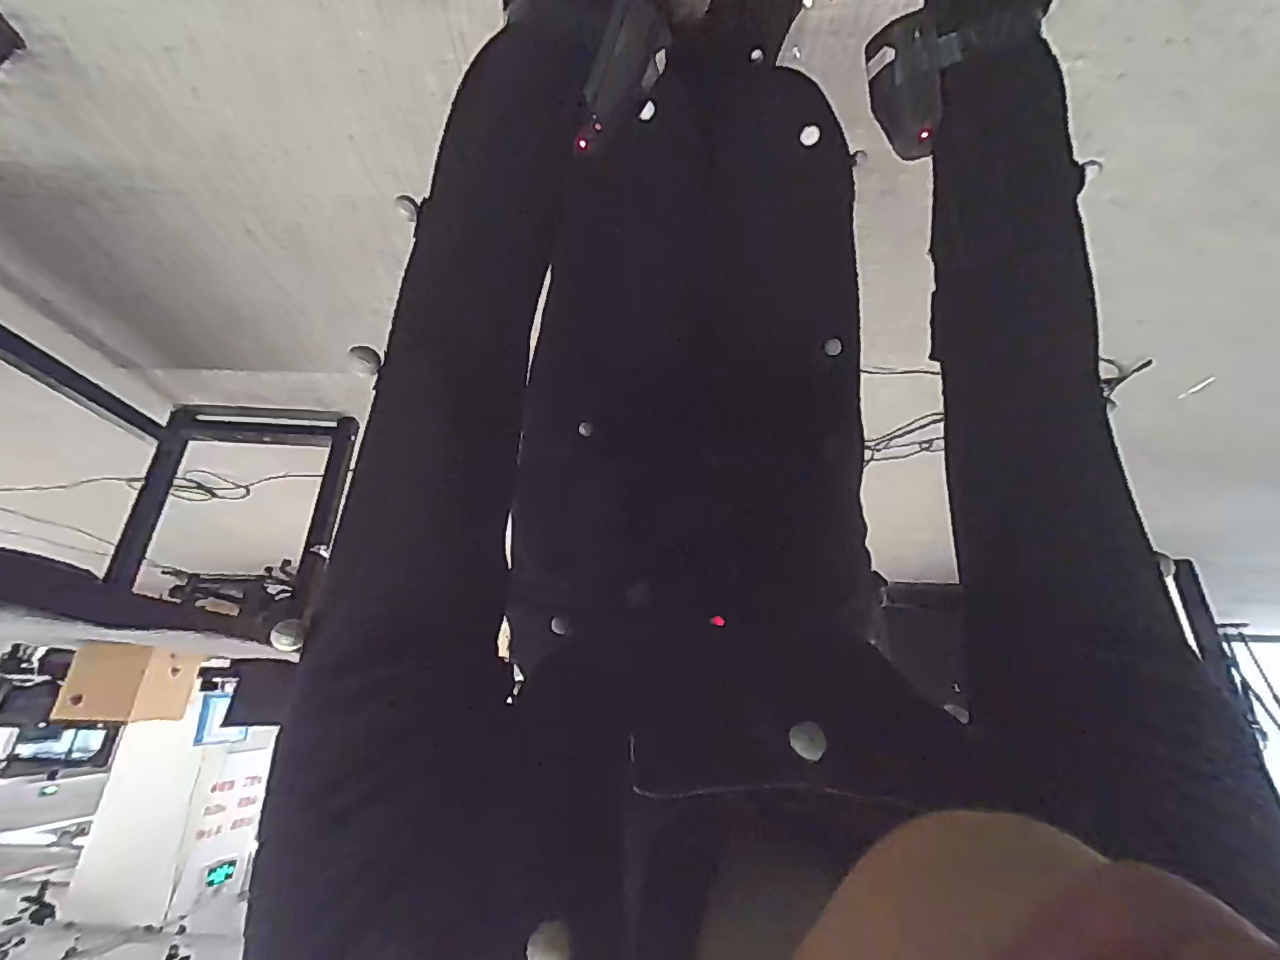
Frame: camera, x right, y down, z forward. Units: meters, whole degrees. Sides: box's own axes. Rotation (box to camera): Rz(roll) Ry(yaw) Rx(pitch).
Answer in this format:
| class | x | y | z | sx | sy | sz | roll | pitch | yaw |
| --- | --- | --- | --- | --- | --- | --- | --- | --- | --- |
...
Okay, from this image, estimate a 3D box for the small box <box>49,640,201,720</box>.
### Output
| class | x | y | z | sx | sy | sz | roll | pitch | yaw |
| --- | --- | --- | --- | --- | --- | --- | --- | --- | --- |
| small box | -1.209 | 0.477 | 1.287 | 0.179 | 0.176 | 0.168 | 2 | 157 | -1 |
